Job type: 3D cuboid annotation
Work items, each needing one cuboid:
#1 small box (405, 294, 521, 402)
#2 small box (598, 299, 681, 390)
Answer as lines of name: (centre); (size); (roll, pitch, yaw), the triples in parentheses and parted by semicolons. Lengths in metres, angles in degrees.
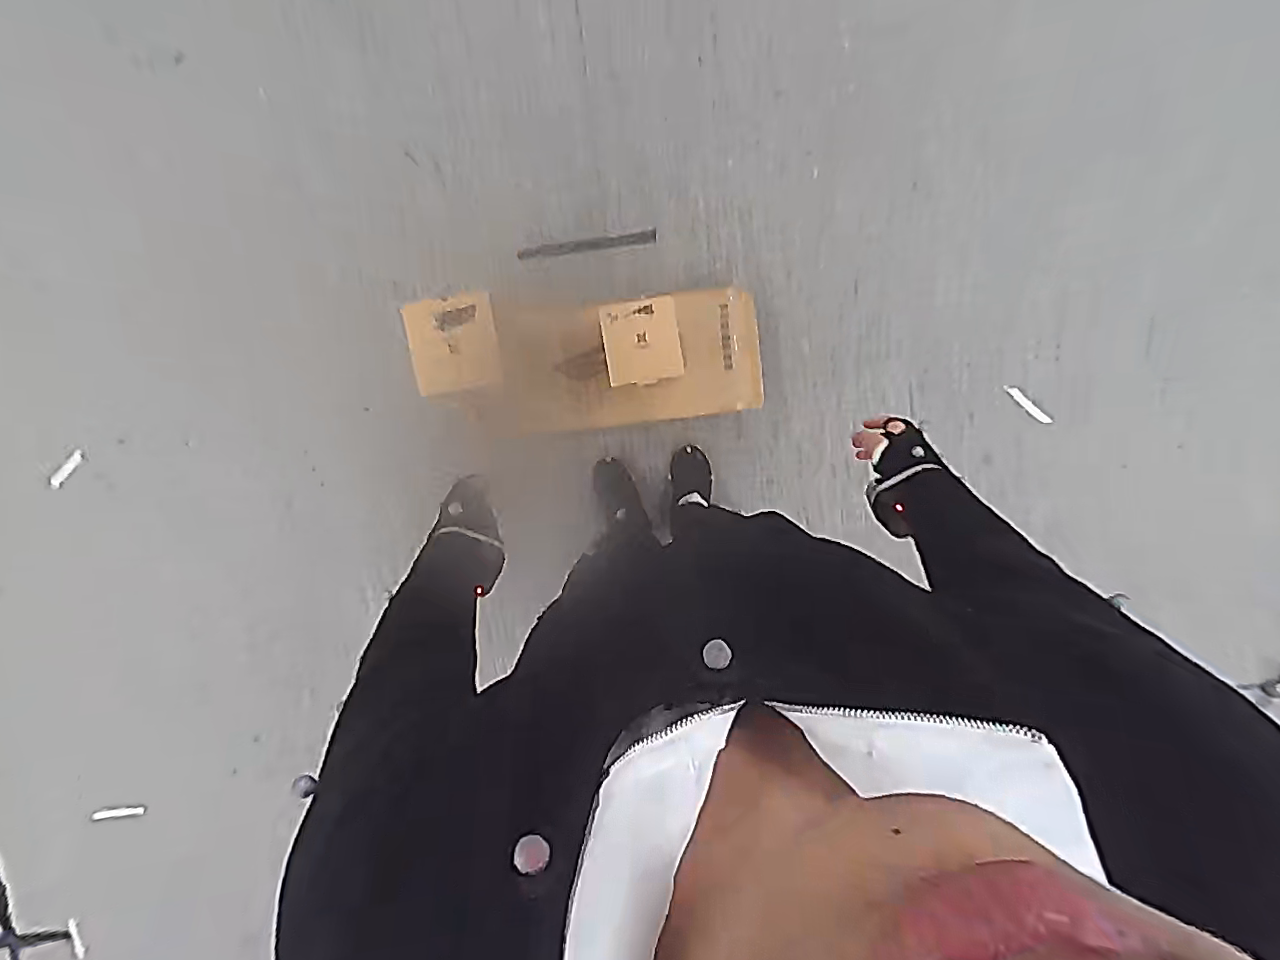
small box: (-0.346, -0.258, 1.090); (0.168, 0.176, 0.179); (-9, 97, 0)
small box: (0.002, -0.306, 1.257); (0.168, 0.176, 0.179); (-8, 97, 2)
